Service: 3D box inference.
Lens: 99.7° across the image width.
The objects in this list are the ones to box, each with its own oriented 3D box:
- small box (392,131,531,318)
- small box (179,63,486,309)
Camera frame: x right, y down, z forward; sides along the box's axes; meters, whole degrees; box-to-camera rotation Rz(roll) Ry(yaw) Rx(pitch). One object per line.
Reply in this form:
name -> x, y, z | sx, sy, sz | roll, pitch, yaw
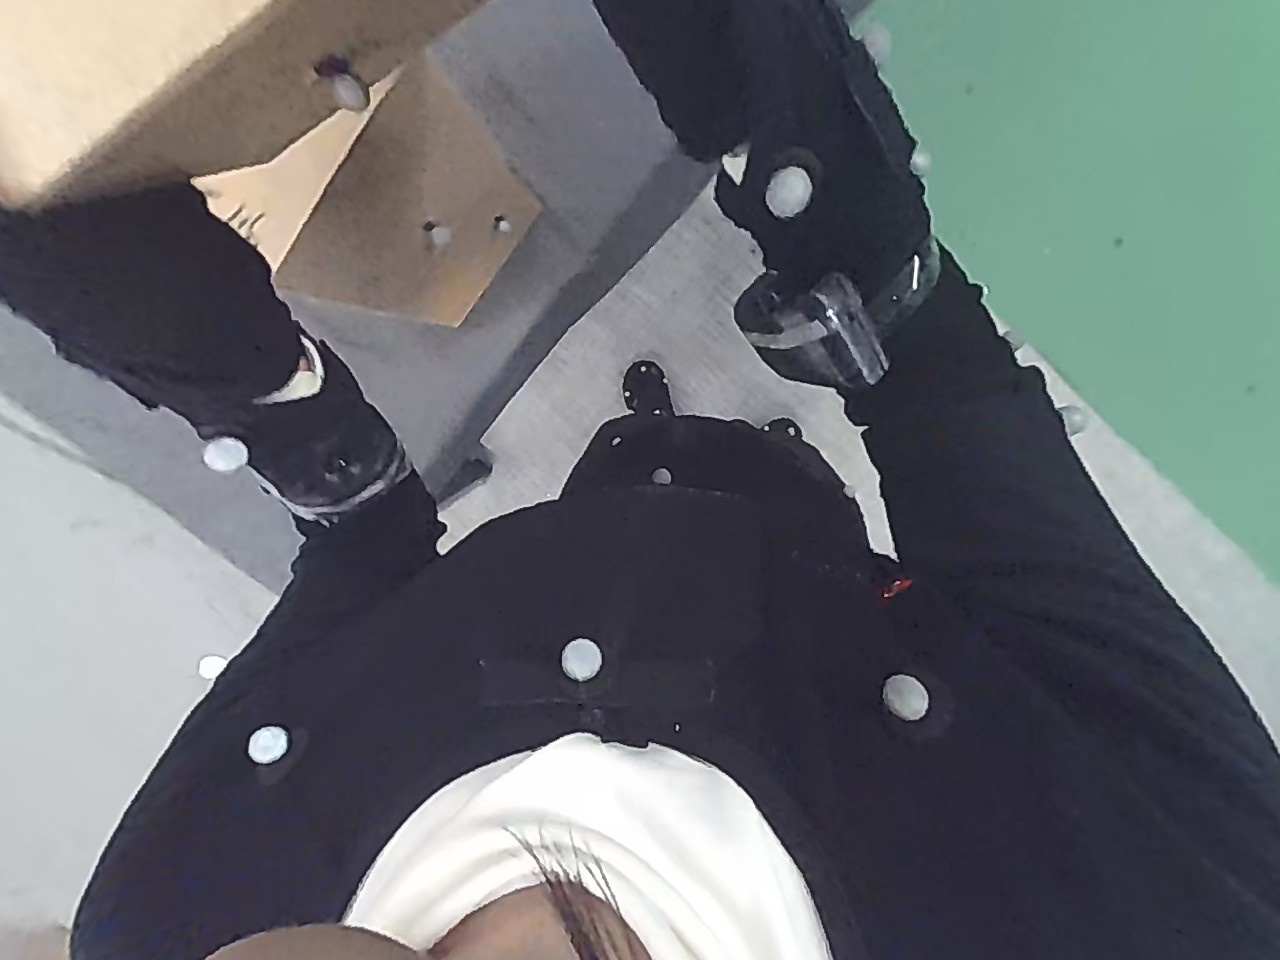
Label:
small box -> -0.234, -0.292, 0.564 | 0.168, 0.176, 0.179 | 39, 103, -4
small box -> -0.240, -0.255, 0.404 | 0.168, 0.176, 0.179 | 40, 101, -3
